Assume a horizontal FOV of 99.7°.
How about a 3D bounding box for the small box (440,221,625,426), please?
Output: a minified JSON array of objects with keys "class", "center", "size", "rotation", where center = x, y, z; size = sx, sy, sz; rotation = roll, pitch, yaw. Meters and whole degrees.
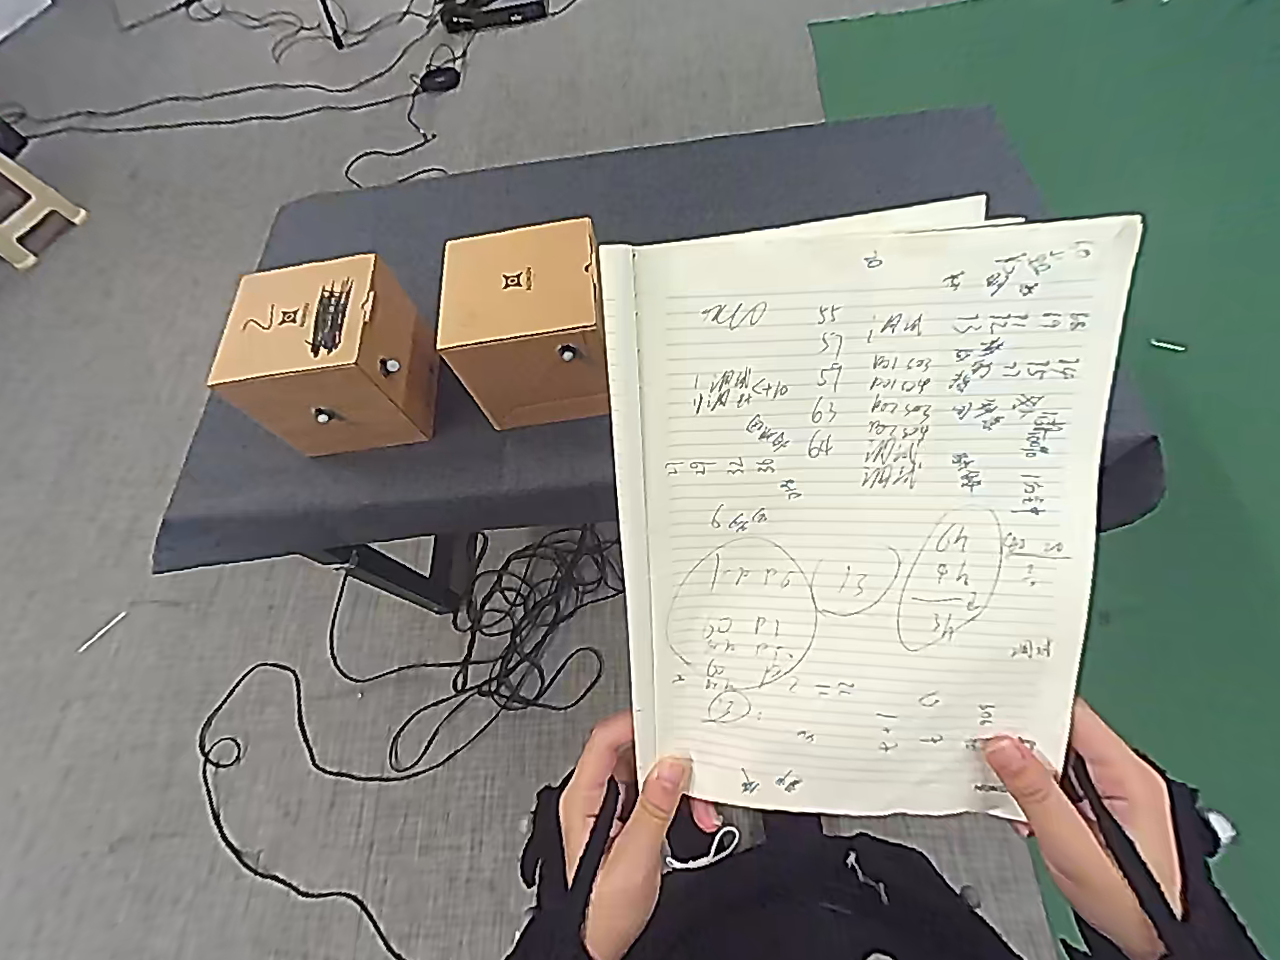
[{"class":"small box","center":[-0.123,-0.183,0.671],"size":[0.179,0.176,0.168],"rotation":[-8,63,4]}]
